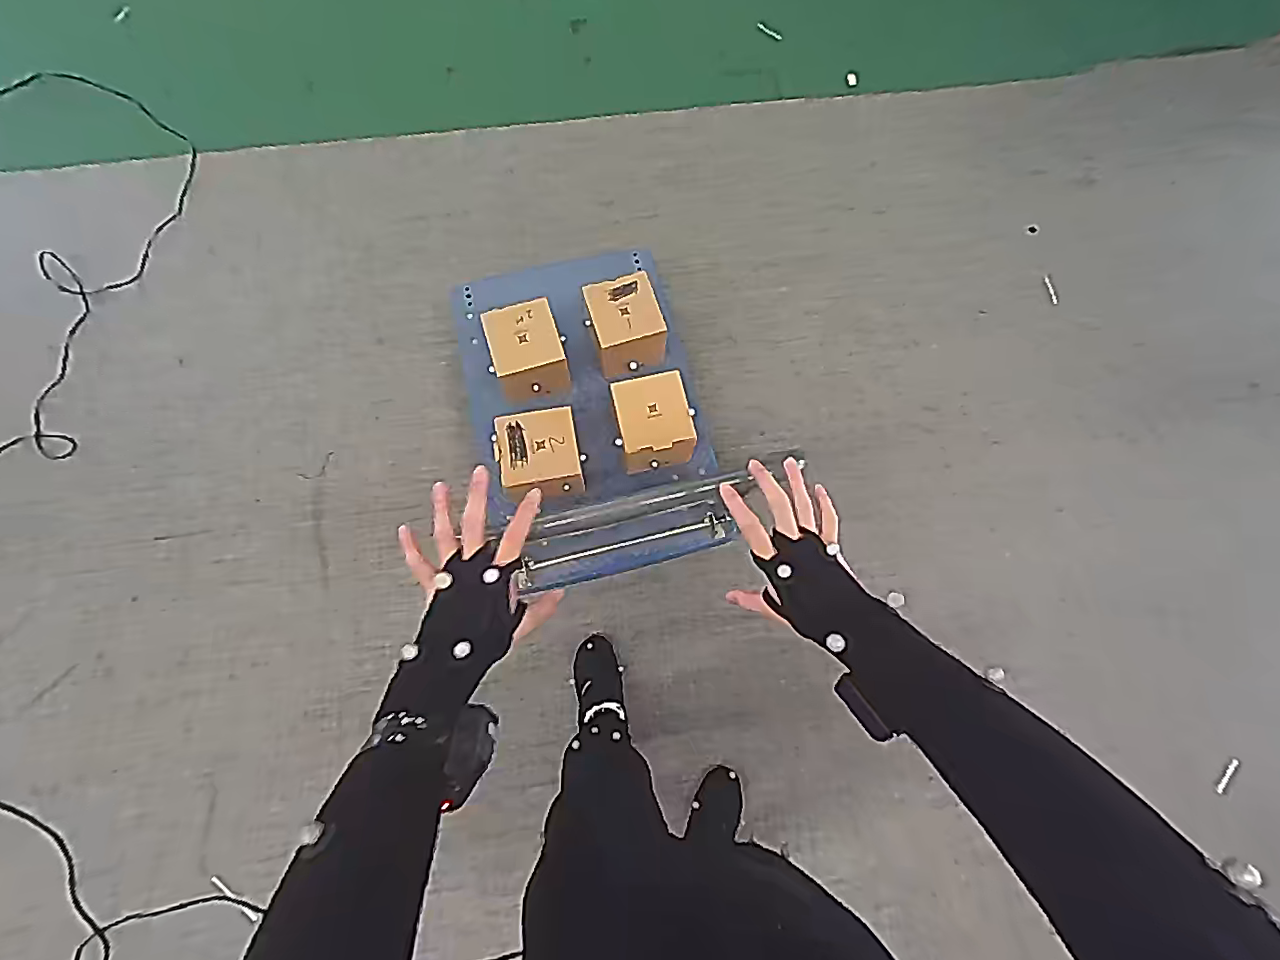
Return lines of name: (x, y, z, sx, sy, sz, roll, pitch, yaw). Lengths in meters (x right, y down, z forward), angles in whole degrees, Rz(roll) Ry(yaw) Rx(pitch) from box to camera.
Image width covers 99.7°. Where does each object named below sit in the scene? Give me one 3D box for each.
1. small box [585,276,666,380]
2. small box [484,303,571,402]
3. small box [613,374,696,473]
small box: (-0.039, -0.386, 1.396, 0.168, 0.176, 0.179, -17, 76, -5)
small box: (-0.278, -0.312, 1.369, 0.168, 0.176, 0.179, -17, 75, -7)
small box: (0.027, -0.133, 1.328, 0.168, 0.176, 0.179, -12, 75, -5)
